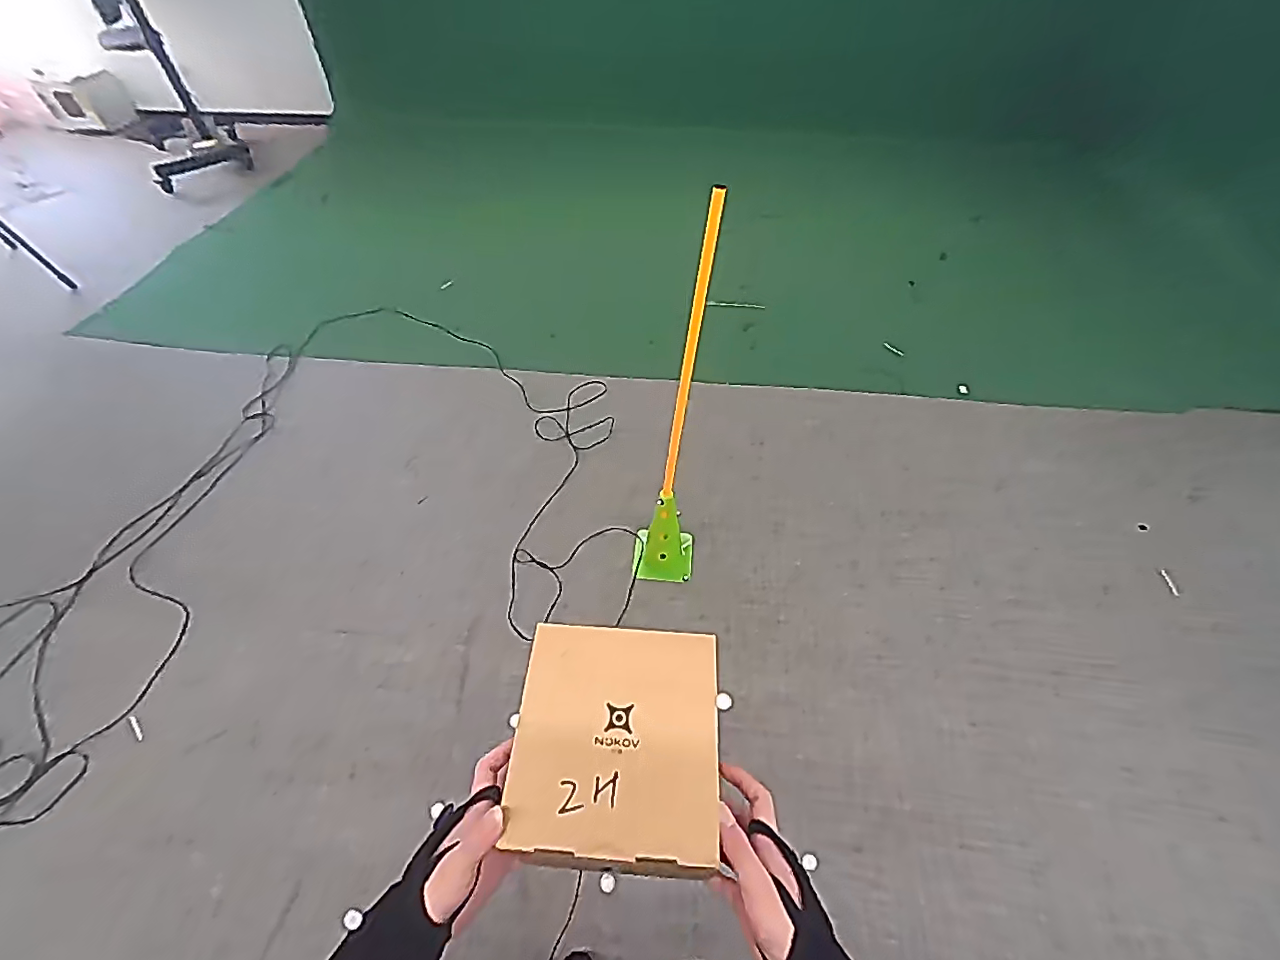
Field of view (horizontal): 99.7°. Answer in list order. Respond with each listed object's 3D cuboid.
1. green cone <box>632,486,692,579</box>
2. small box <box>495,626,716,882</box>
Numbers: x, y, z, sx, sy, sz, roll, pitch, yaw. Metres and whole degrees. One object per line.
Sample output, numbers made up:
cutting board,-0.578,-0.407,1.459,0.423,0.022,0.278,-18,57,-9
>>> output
green cone,0.076,0.144,1.760,0.202,0.368,0.200,4,50,4
small box,-0.021,0.260,0.510,0.168,0.176,0.179,4,52,3
